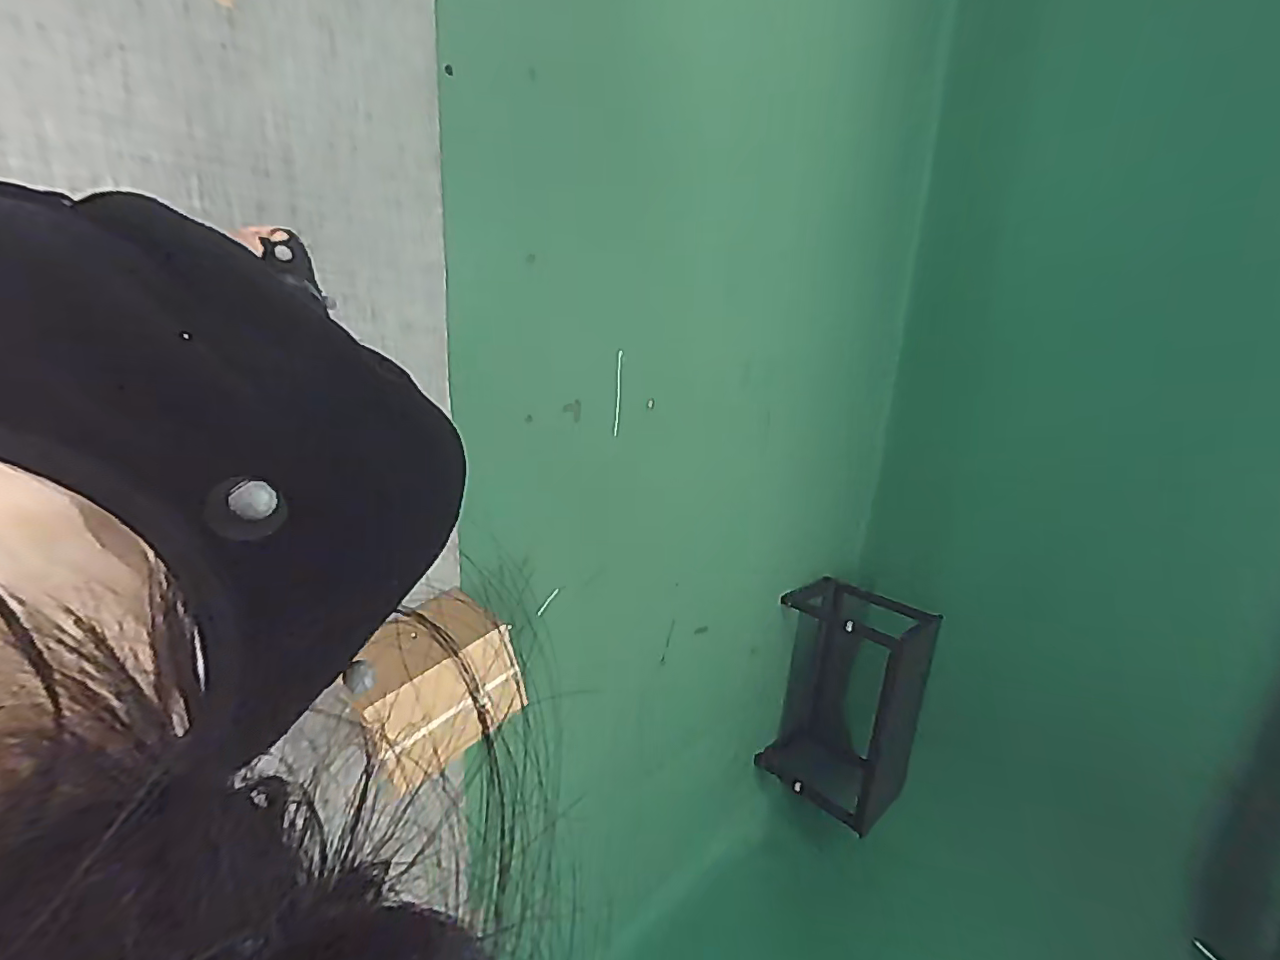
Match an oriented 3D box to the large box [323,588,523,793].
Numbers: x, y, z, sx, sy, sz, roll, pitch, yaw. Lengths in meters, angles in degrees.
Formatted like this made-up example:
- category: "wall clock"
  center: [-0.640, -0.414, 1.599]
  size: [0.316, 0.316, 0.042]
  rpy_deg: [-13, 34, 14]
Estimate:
- category: "large box"
  center: [-0.618, 0.582, 1.571]
  size: [0.408, 0.320, 0.320]
  rpy_deg: [-28, 122, -38]
